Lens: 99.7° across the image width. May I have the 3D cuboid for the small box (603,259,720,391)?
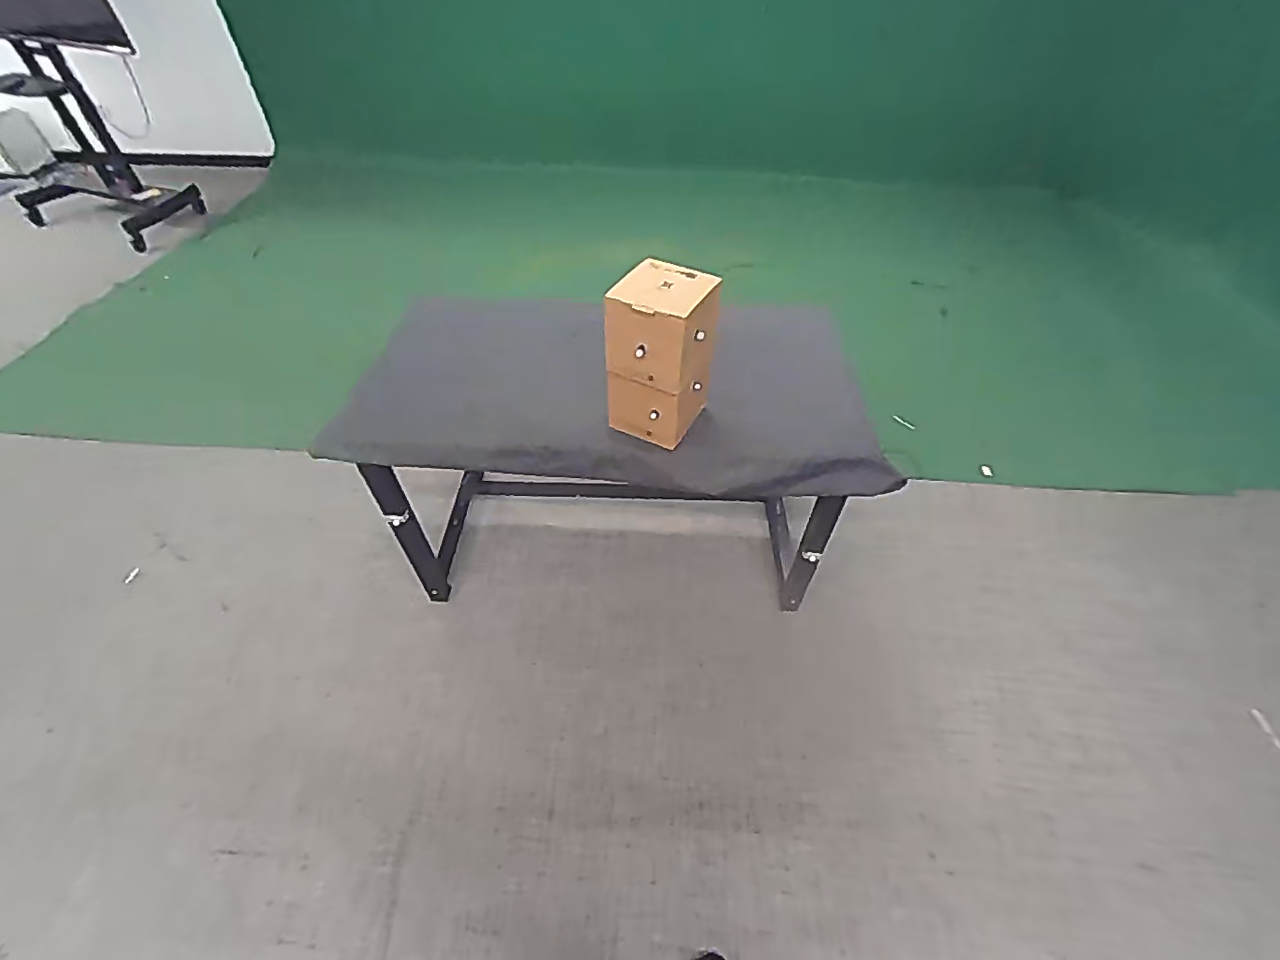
[{"bbox_3d":[0.044,-0.303,1.068,0.168,0.176,0.179,23,52,17],"label":"small box"}]

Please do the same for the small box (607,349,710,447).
[{"bbox_3d":[0.041,-0.201,1.198,0.168,0.176,0.179,22,50,17],"label":"small box"}]
